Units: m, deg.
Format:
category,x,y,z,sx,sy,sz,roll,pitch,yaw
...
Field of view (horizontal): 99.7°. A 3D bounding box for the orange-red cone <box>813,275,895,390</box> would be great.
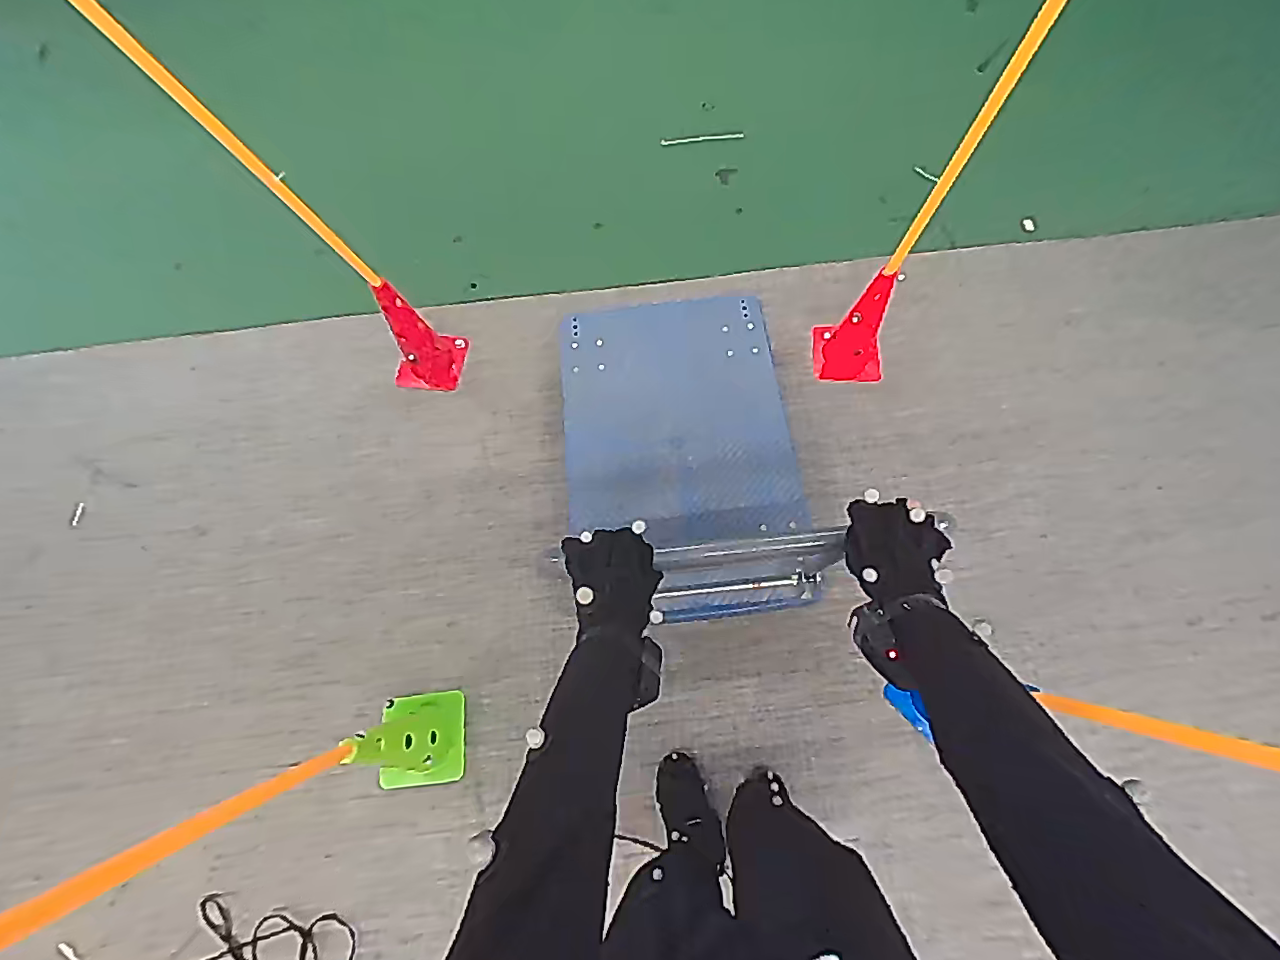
category,x,y,z,sx,sy,sz,roll,pitch,yaw
orange-red cone,0.627,-0.429,1.508,0.198,0.360,0.199,4,68,5
